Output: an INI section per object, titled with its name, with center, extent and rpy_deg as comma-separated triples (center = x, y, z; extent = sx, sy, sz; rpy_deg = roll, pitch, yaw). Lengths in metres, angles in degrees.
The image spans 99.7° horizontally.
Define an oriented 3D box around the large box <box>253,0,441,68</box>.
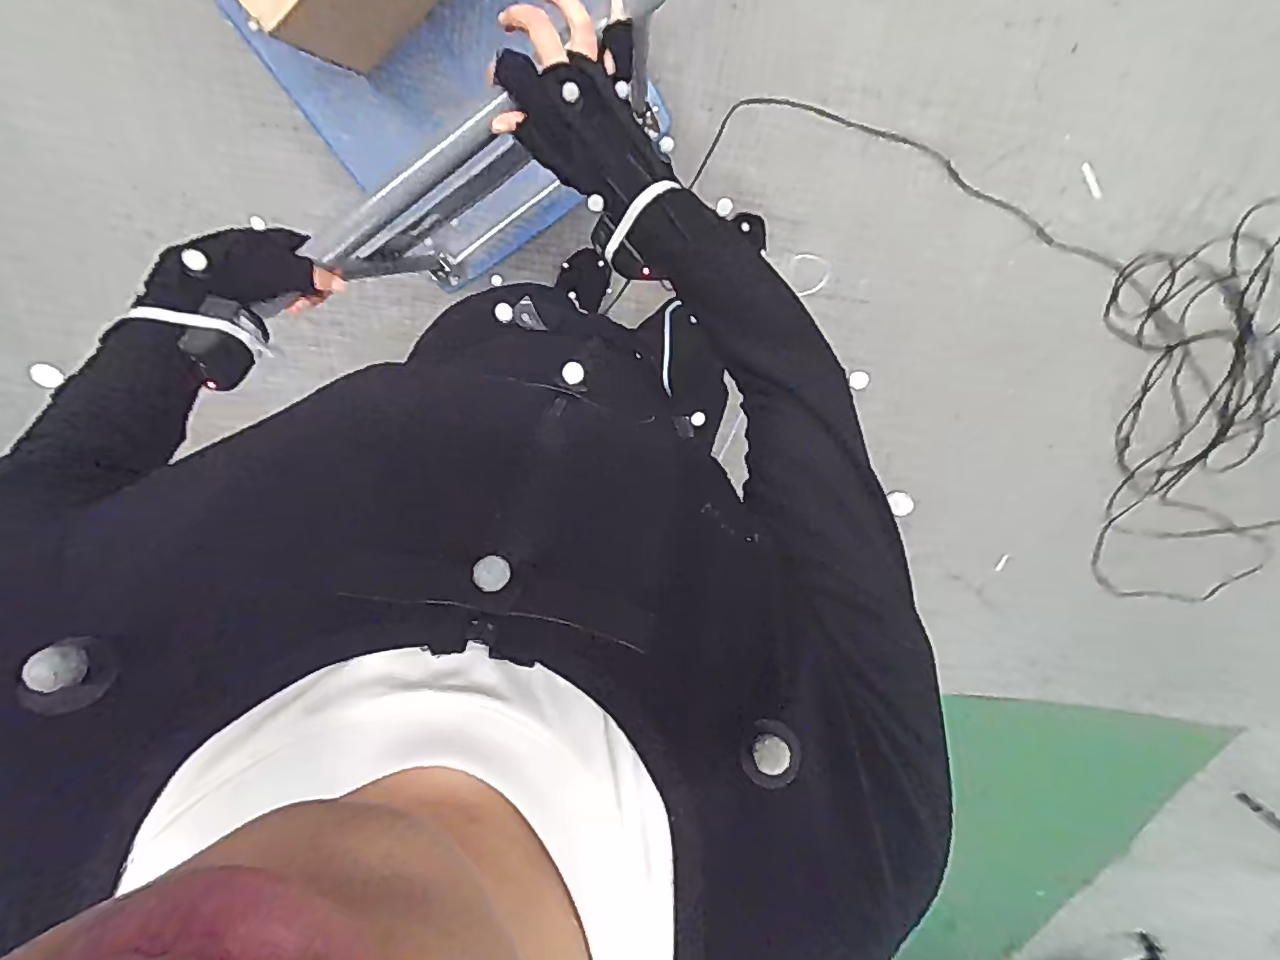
[large box]
center = -0.407, -0.877, 0.738
extent = 0.408, 0.320, 0.320
rpy_deg = -31, 114, 16
